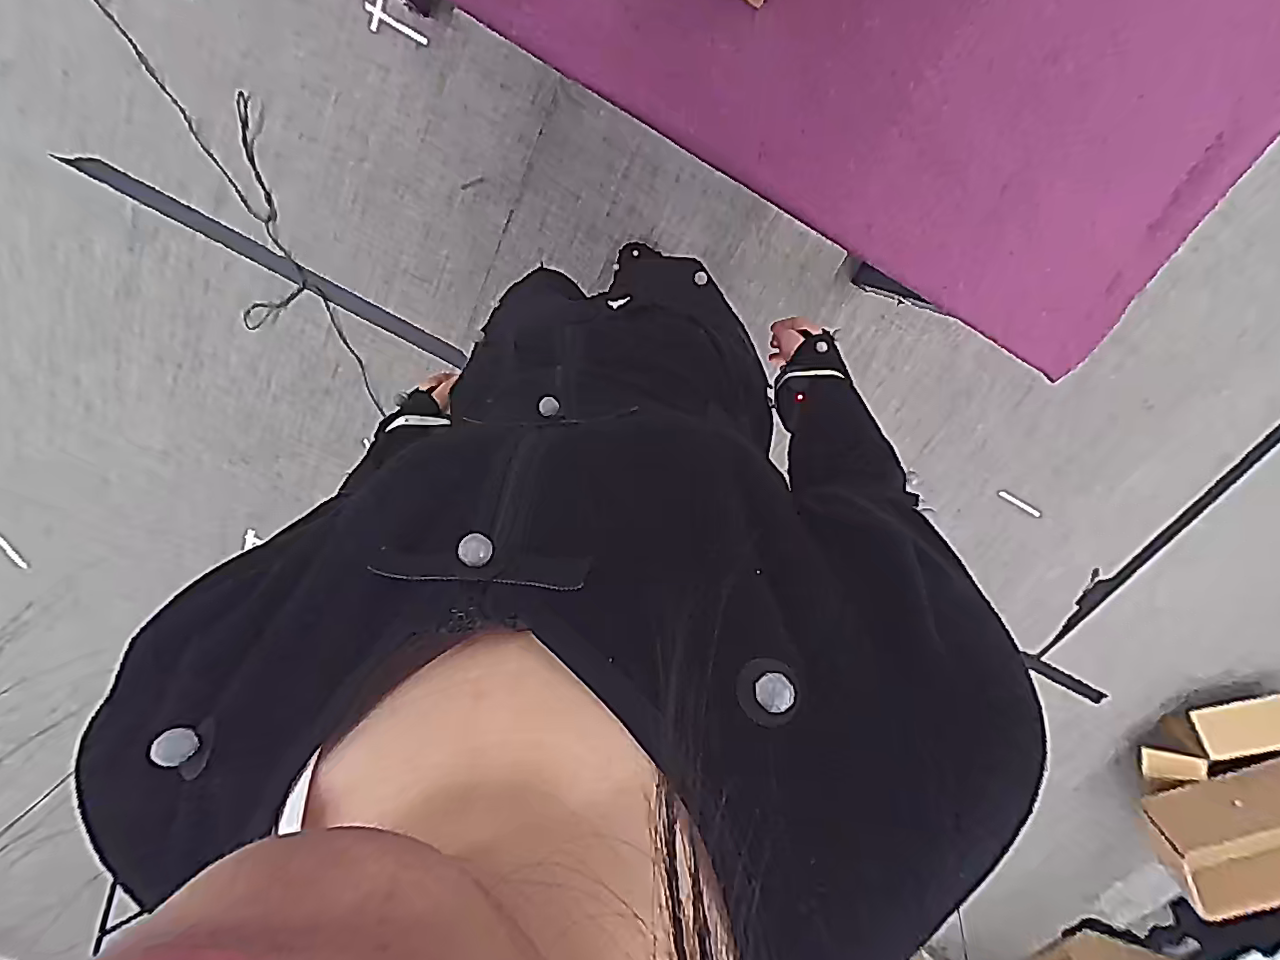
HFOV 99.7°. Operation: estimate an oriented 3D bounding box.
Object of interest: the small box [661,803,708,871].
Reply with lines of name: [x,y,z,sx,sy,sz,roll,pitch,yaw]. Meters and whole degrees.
small box: [0.173,1.407,2.141,0.168,0.176,0.179,-7,116,6]
